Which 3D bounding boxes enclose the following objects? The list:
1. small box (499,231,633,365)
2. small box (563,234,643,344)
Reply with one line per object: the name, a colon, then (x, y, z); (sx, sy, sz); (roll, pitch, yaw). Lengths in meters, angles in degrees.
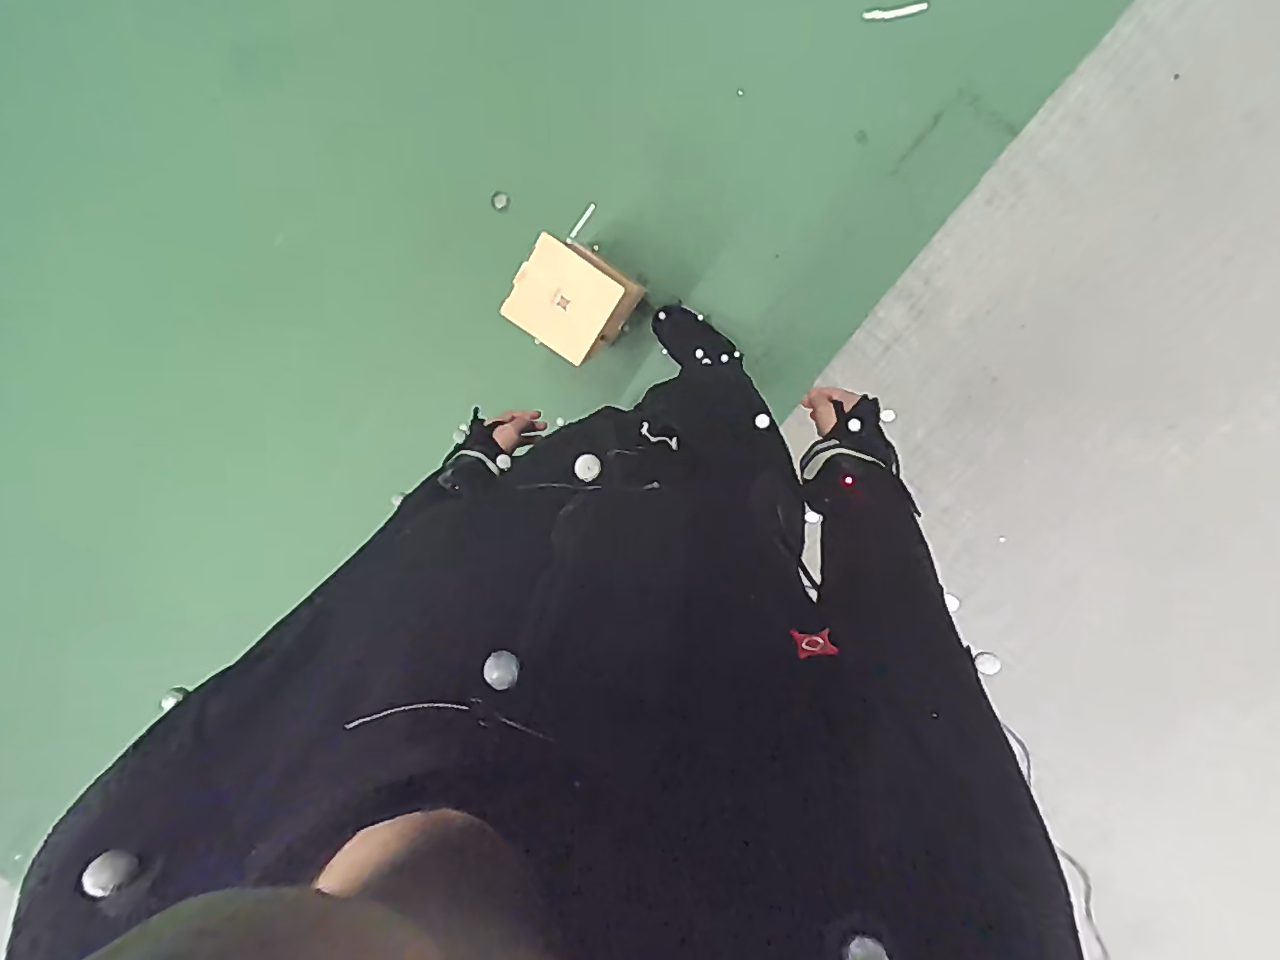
small box: (-0.132, -0.347, 1.034); (0.179, 0.176, 0.168); (34, 110, -4)
small box: (-0.111, -0.407, 1.183); (0.179, 0.176, 0.168); (34, 110, -6)
